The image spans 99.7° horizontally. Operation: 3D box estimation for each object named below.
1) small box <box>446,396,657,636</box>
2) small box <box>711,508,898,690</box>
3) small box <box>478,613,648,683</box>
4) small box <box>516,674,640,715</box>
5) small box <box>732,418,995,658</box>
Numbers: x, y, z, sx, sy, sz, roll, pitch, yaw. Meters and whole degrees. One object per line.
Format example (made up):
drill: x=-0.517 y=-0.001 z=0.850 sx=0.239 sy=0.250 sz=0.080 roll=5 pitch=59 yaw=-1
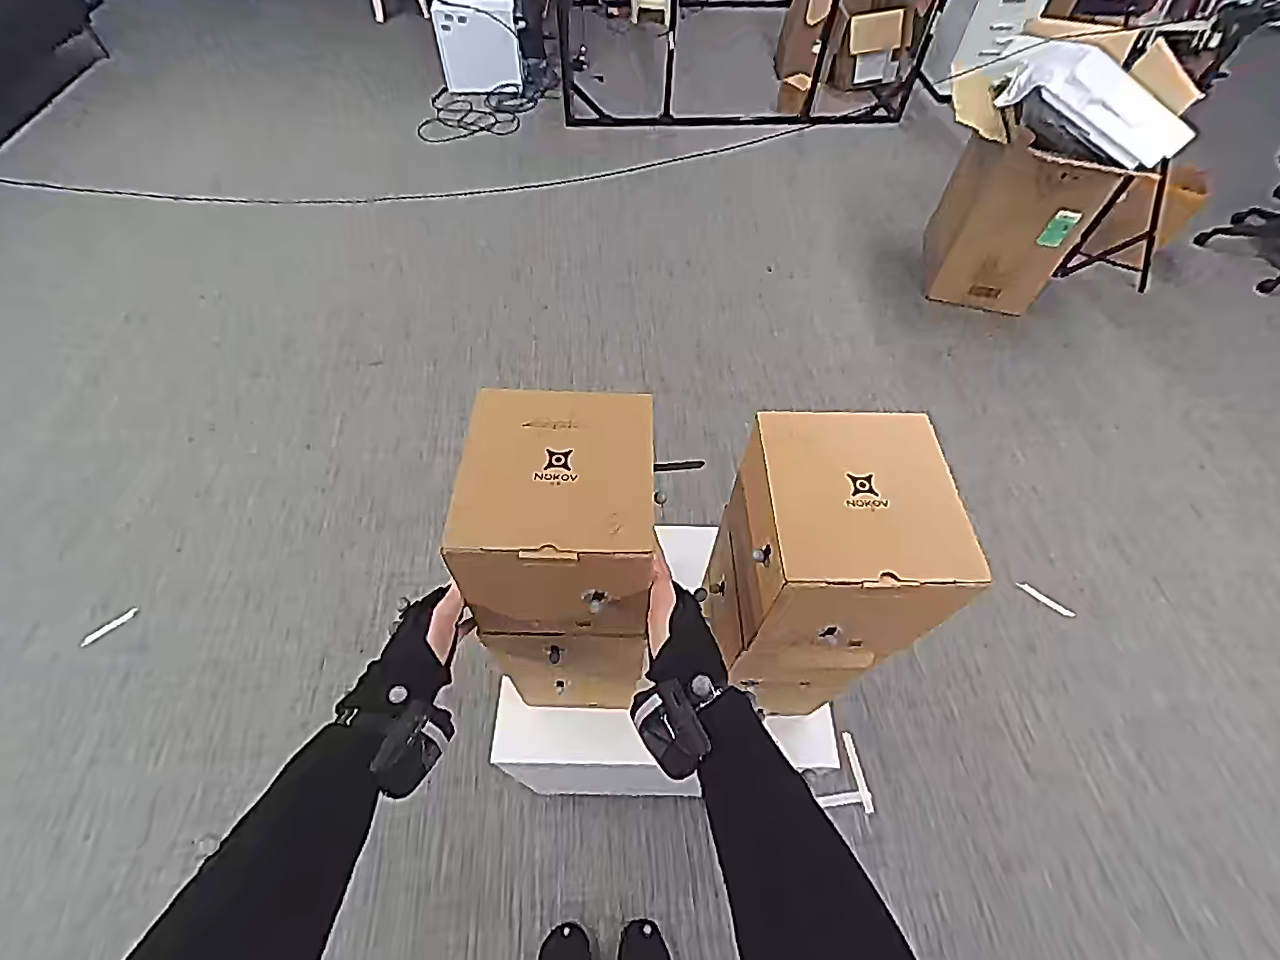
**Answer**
small box: x=-0.069 y=0.041 z=0.526 sx=0.168 sy=0.176 sz=0.179 roll=2 pitch=53 yaw=-2
small box: x=0.184 y=0.151 z=0.662 sx=0.168 sy=0.176 sz=0.179 roll=0 pitch=55 yaw=-1
small box: x=-0.078 y=0.141 z=0.657 sx=0.179 sy=0.176 sz=0.168 roll=3 pitch=56 yaw=-1
small box: x=-0.082 y=0.232 z=0.796 sx=0.168 sy=0.176 sz=0.179 roll=3 pitch=55 yaw=-1
small box: x=0.190 y=0.060 z=0.527 sx=0.168 sy=0.176 sz=0.179 roll=0 pitch=56 yaw=-2
